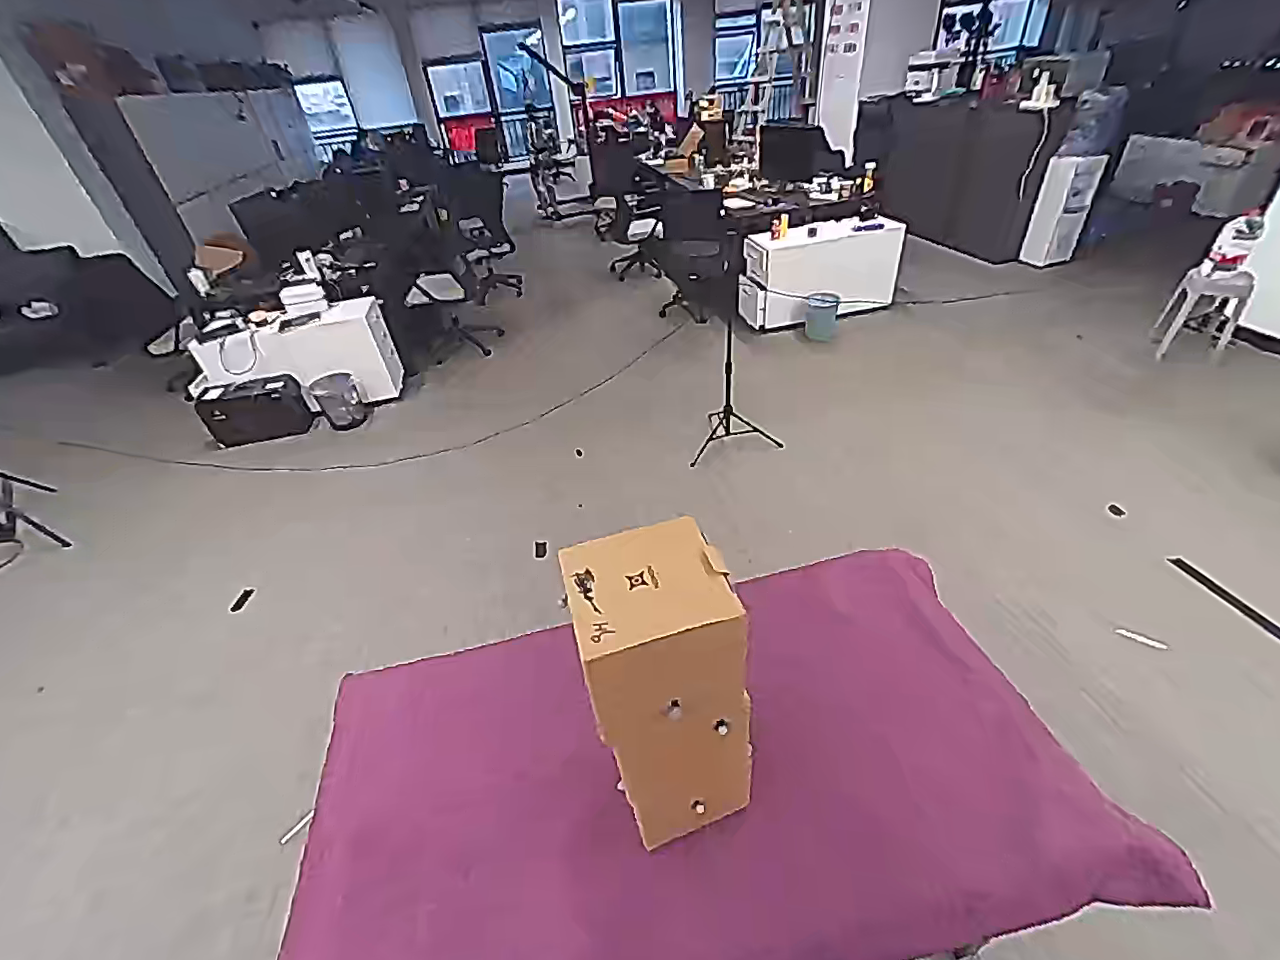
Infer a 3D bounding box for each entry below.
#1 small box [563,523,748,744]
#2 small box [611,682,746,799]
[{"bbox_3d":[0.014,0.180,0.649,0.179,0.176,0.168,-12,37,-9],"label":"small box"},{"bbox_3d":[0.037,0.307,0.750,0.179,0.176,0.168,-13,37,-9],"label":"small box"}]
